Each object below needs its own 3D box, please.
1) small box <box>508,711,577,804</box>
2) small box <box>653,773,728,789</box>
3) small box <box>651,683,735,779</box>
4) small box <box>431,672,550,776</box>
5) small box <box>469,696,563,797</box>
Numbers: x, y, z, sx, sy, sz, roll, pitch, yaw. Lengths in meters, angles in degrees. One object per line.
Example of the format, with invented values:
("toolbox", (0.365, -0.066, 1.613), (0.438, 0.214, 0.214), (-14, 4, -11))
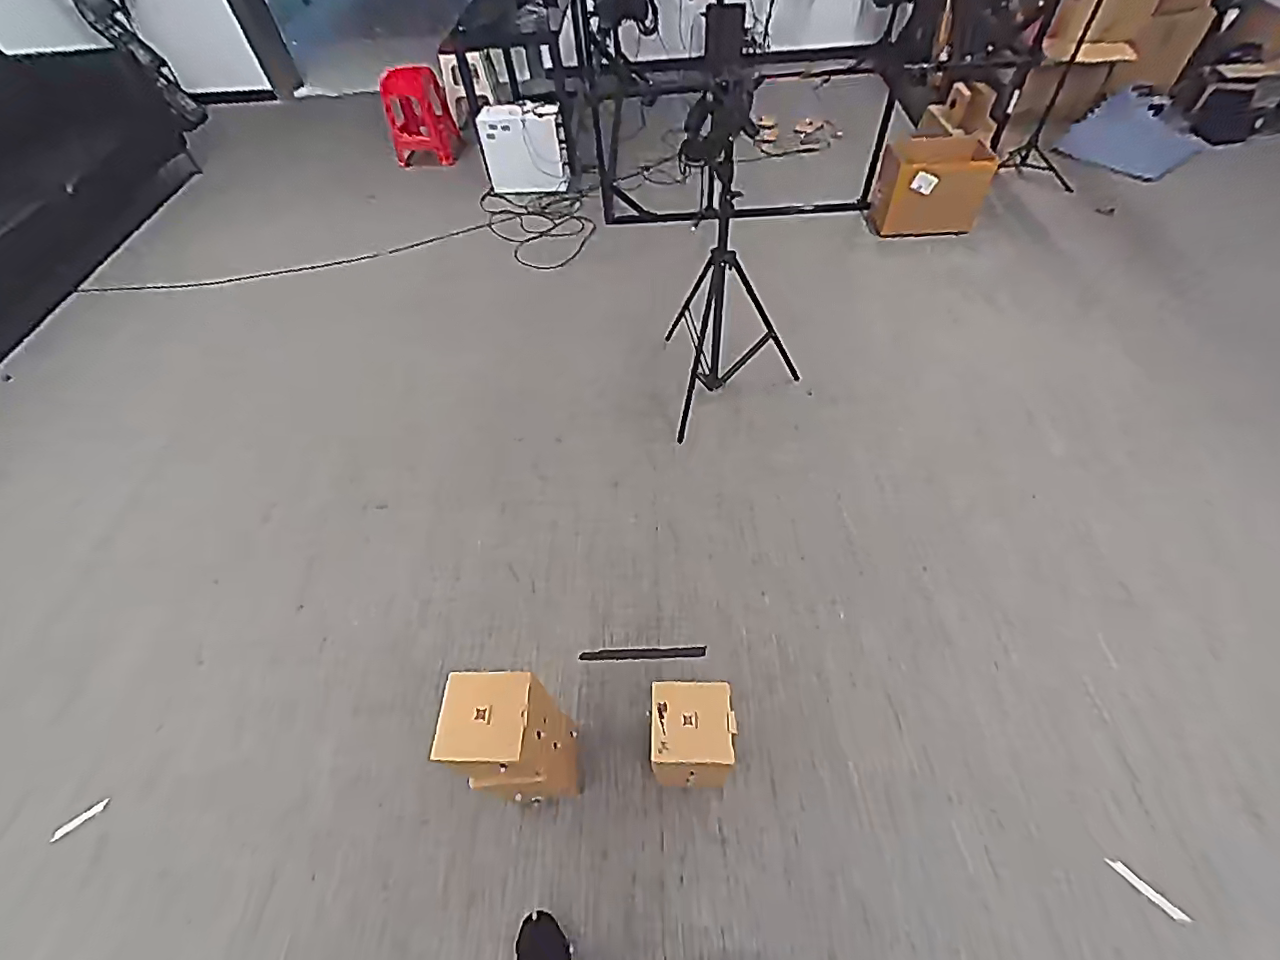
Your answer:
("small box", (-0.254, 0.704, 1.368), (0.168, 0.176, 0.179), (-7, 53, 0))
("small box", (0.125, 0.672, 1.361), (0.179, 0.176, 0.168), (0, 54, 3))
("small box", (0.116, 0.574, 1.230), (0.179, 0.176, 0.168), (1, 53, 4))
("small box", (-0.296, 0.505, 1.112), (0.179, 0.176, 0.168), (-1, 53, 4))
("small box", (-0.273, 0.610, 1.234), (0.168, 0.176, 0.179), (-5, 54, 2))
